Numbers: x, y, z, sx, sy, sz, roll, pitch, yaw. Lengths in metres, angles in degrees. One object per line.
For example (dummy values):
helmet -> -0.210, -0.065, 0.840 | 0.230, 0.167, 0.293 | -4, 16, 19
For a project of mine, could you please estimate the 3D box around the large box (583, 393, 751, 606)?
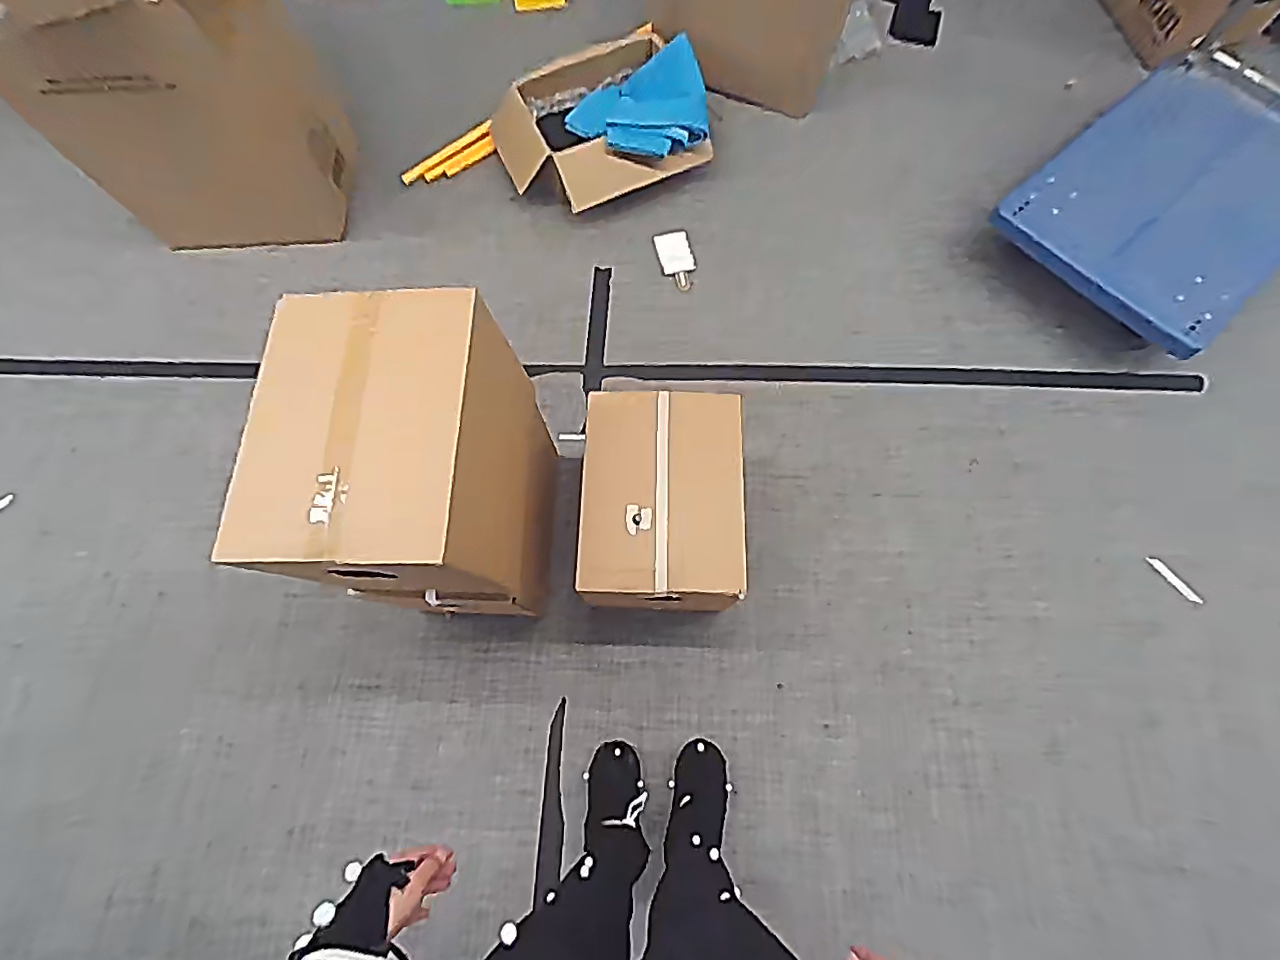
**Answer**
large box -> 0.050, 0.057, 1.178 | 0.320, 0.320, 0.408 | 0, 72, 2
